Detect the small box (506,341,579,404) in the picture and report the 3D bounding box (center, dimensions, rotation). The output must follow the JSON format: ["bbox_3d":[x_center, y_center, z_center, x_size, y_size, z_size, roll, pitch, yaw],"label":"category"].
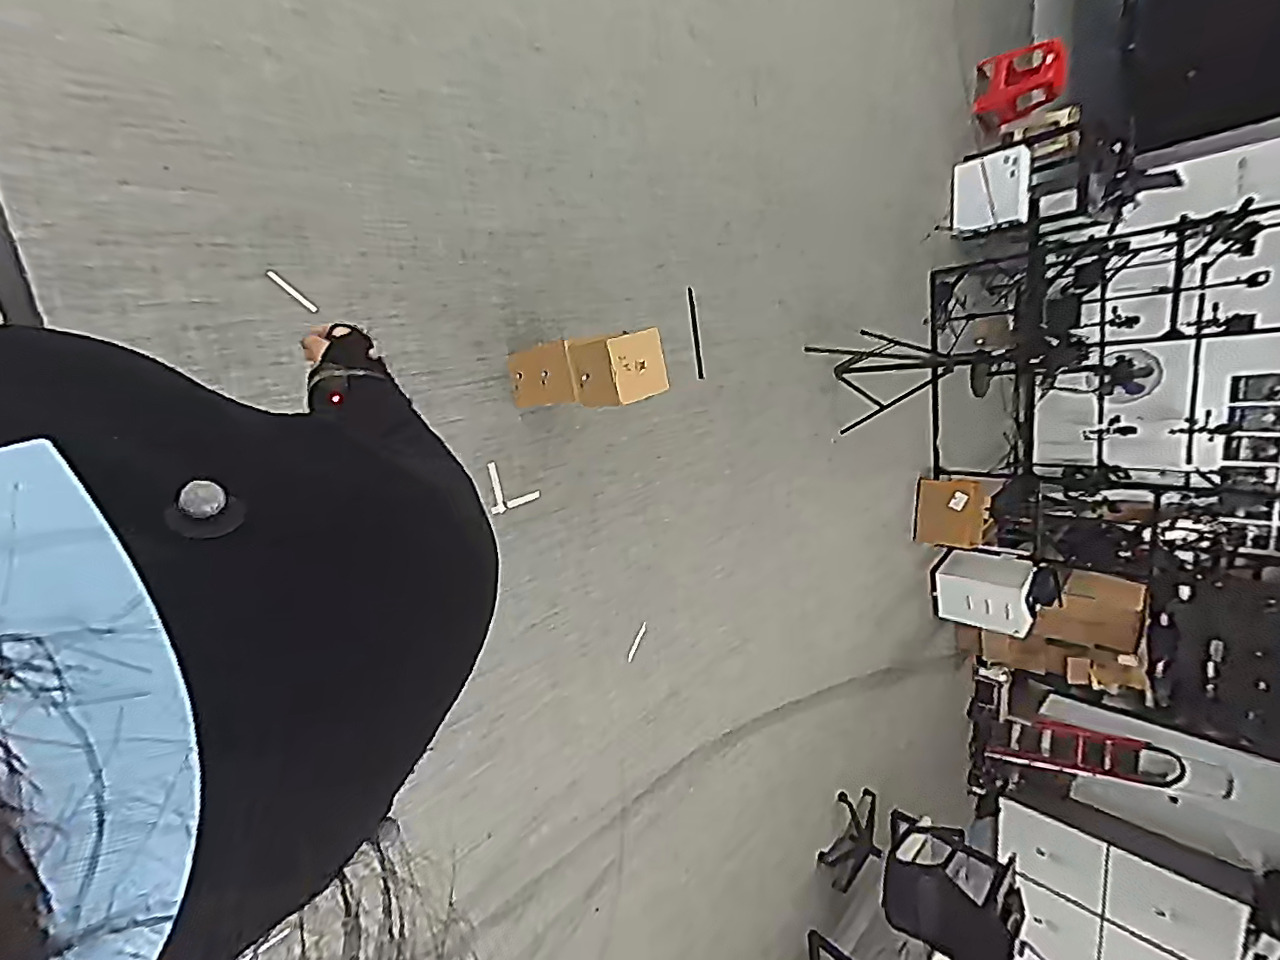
[{"bbox_3d":[-0.283,-0.331,1.663,0.179,0.176,0.168,-21,109,-39],"label":"small box"}]

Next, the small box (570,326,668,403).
[{"bbox_3d":[-0.057,-0.302,1.425,0.179,0.176,0.168,-25,110,-37],"label":"small box"}]
